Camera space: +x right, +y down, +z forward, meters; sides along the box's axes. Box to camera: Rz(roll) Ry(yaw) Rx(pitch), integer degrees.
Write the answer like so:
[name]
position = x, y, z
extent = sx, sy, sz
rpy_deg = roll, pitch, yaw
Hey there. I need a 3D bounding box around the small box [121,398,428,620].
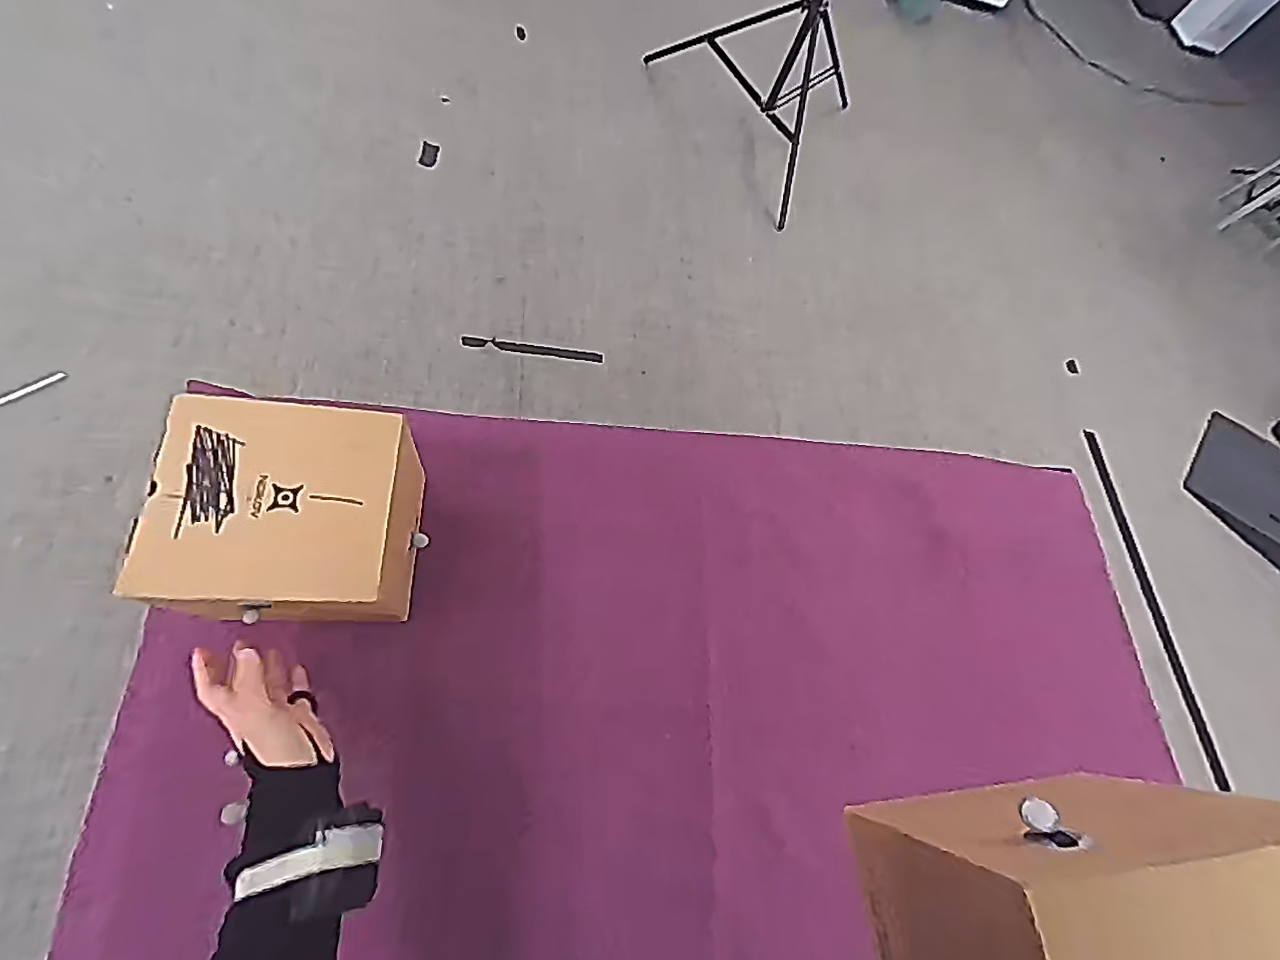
[small box]
position = -0.307, 0.041, 0.504
extent = 0.179, 0.176, 0.168
rpy_deg = 4, 71, -14
